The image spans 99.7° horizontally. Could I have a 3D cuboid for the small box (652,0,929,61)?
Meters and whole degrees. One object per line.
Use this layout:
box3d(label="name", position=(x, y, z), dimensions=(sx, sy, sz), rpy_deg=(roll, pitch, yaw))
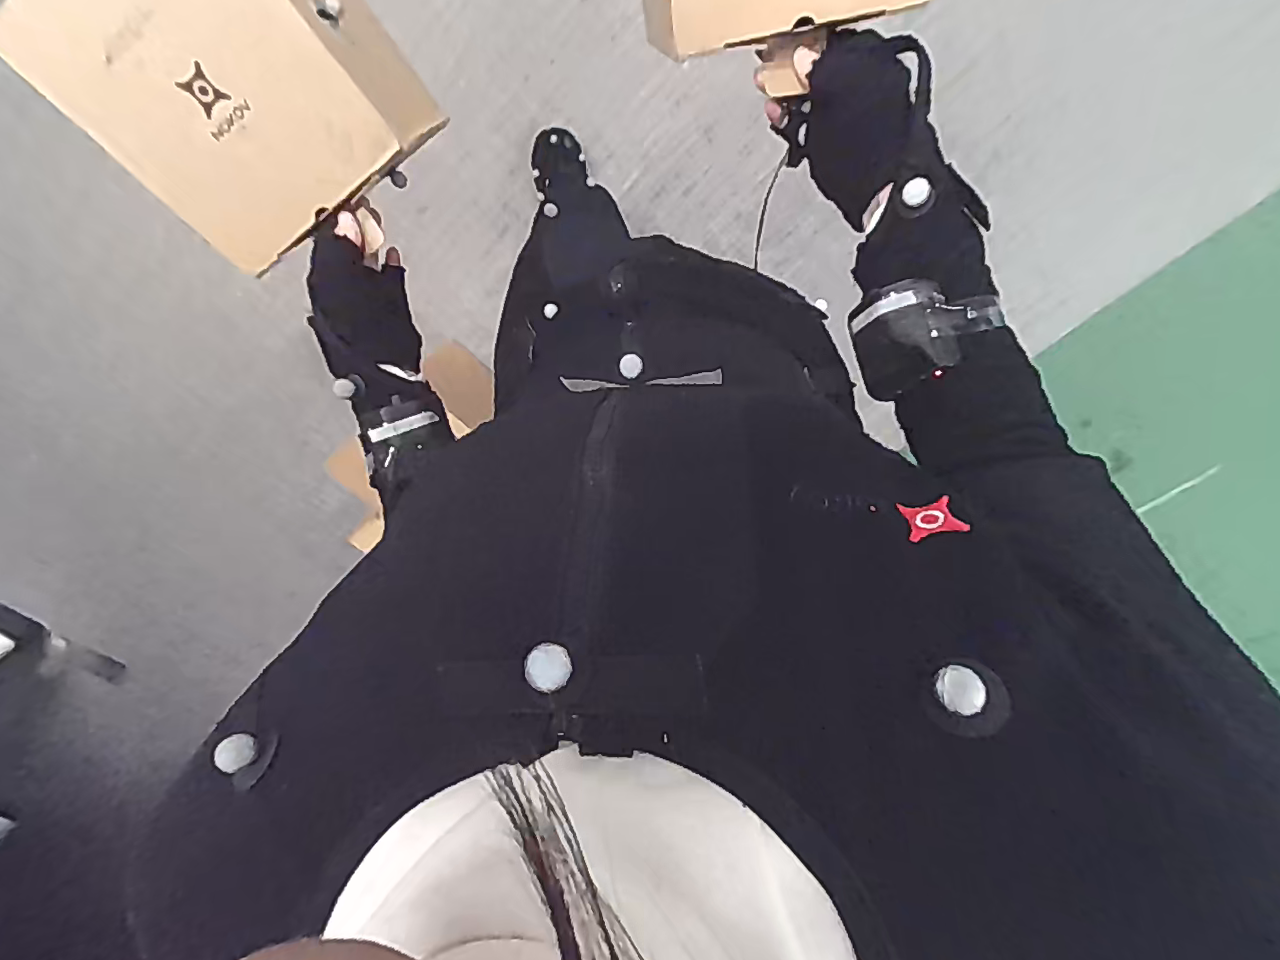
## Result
box3d(label="small box", position=(0.086, -0.402, 0.348), dimensions=(0.168, 0.176, 0.179), rpy_deg=(-10, 133, 2))
